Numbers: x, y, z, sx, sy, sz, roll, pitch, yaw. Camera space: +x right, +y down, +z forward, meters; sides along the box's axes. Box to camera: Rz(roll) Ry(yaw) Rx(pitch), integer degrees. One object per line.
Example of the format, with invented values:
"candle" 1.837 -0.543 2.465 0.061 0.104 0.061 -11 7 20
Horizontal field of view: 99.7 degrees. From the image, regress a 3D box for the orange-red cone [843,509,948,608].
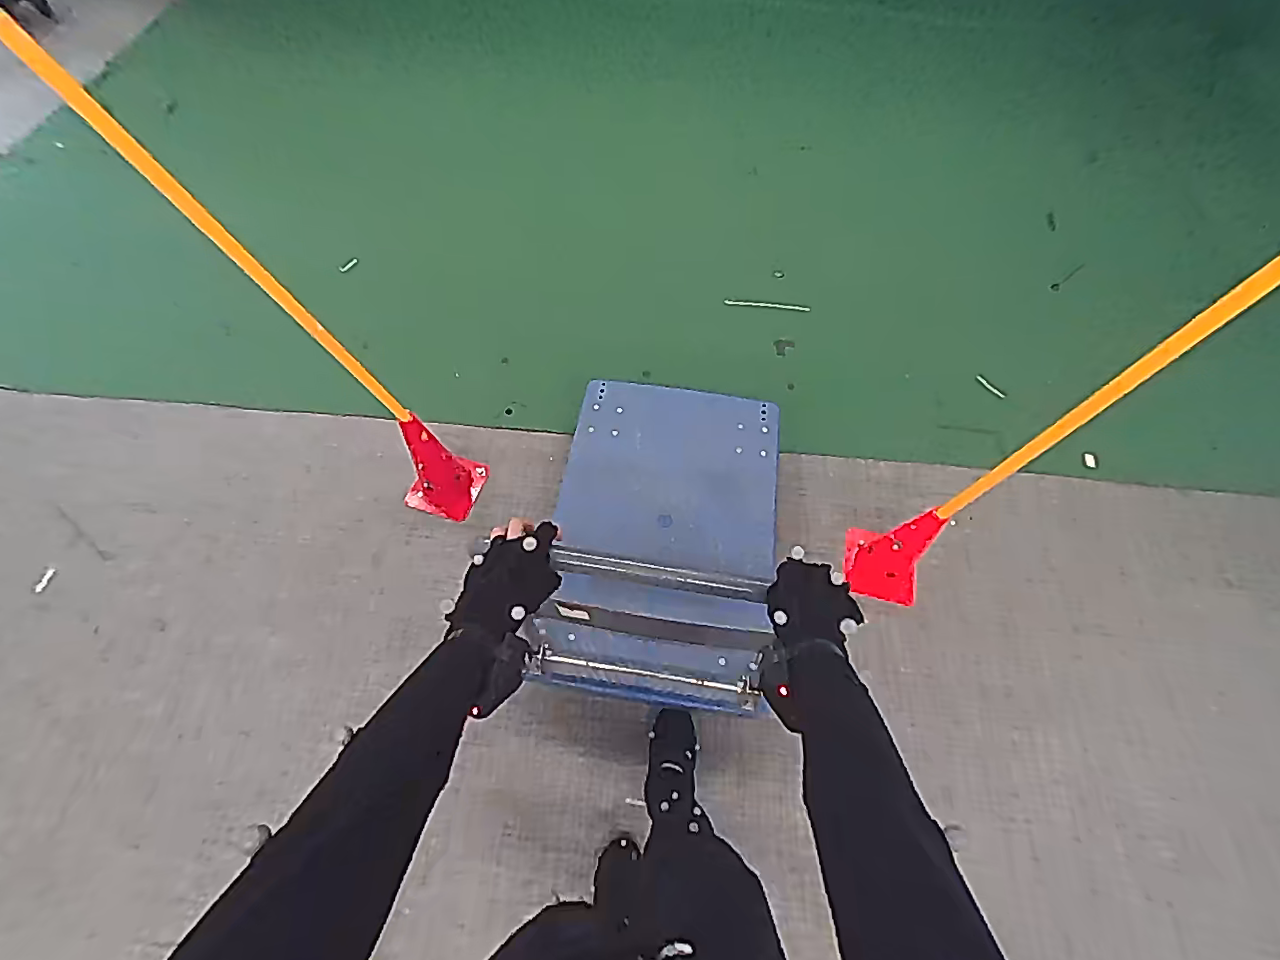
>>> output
"orange-red cone" 0.688 0.169 1.392 0.198 0.360 0.199 15 62 7
